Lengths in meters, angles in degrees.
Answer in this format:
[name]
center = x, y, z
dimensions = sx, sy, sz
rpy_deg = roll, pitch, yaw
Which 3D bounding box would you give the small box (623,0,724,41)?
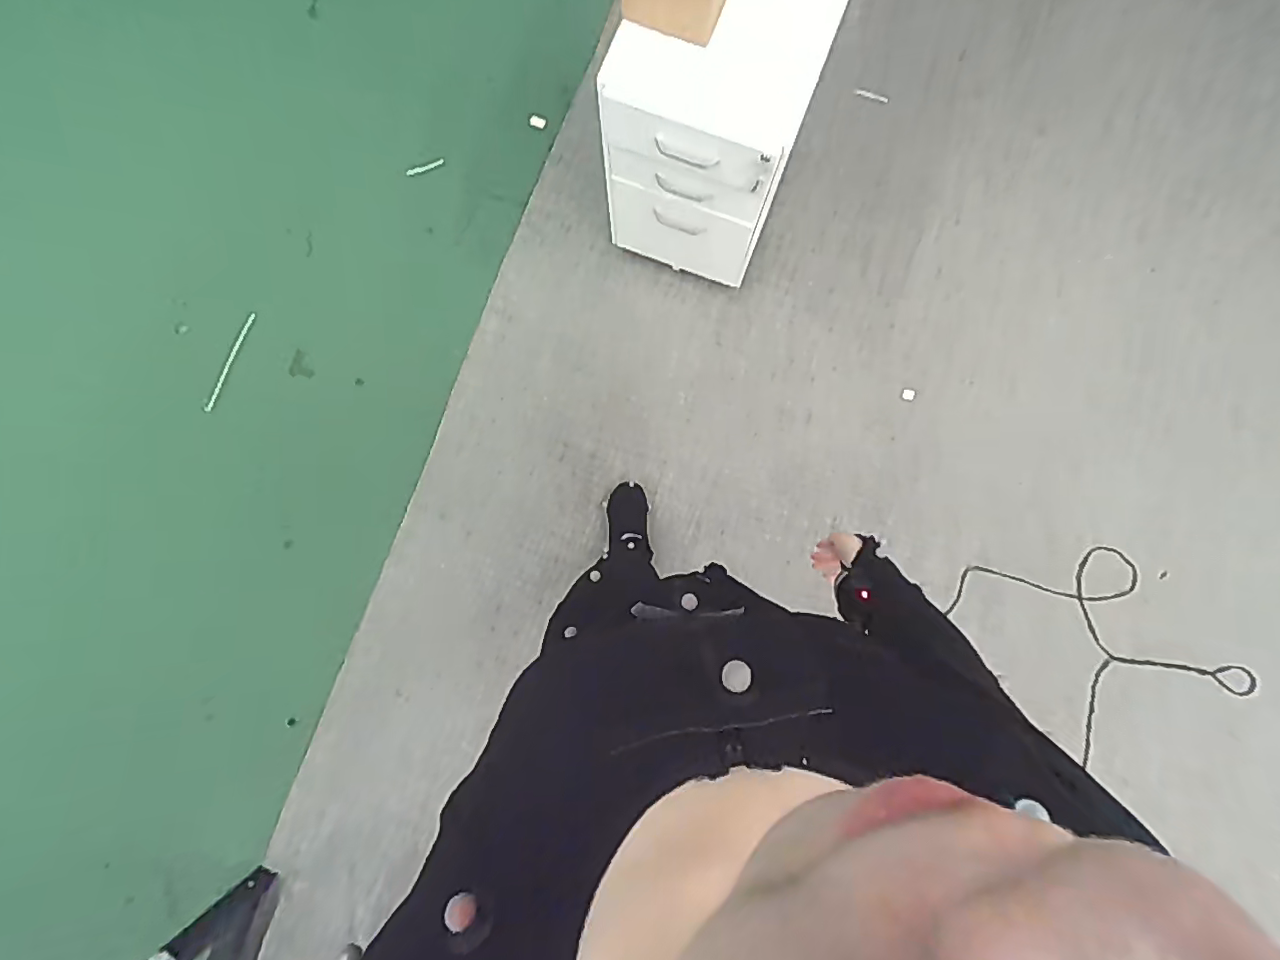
[small box]
center = 0.071, -0.941, 0.963
dimensions = 0.179, 0.176, 0.168
rpy_deg = 20, 84, 2
